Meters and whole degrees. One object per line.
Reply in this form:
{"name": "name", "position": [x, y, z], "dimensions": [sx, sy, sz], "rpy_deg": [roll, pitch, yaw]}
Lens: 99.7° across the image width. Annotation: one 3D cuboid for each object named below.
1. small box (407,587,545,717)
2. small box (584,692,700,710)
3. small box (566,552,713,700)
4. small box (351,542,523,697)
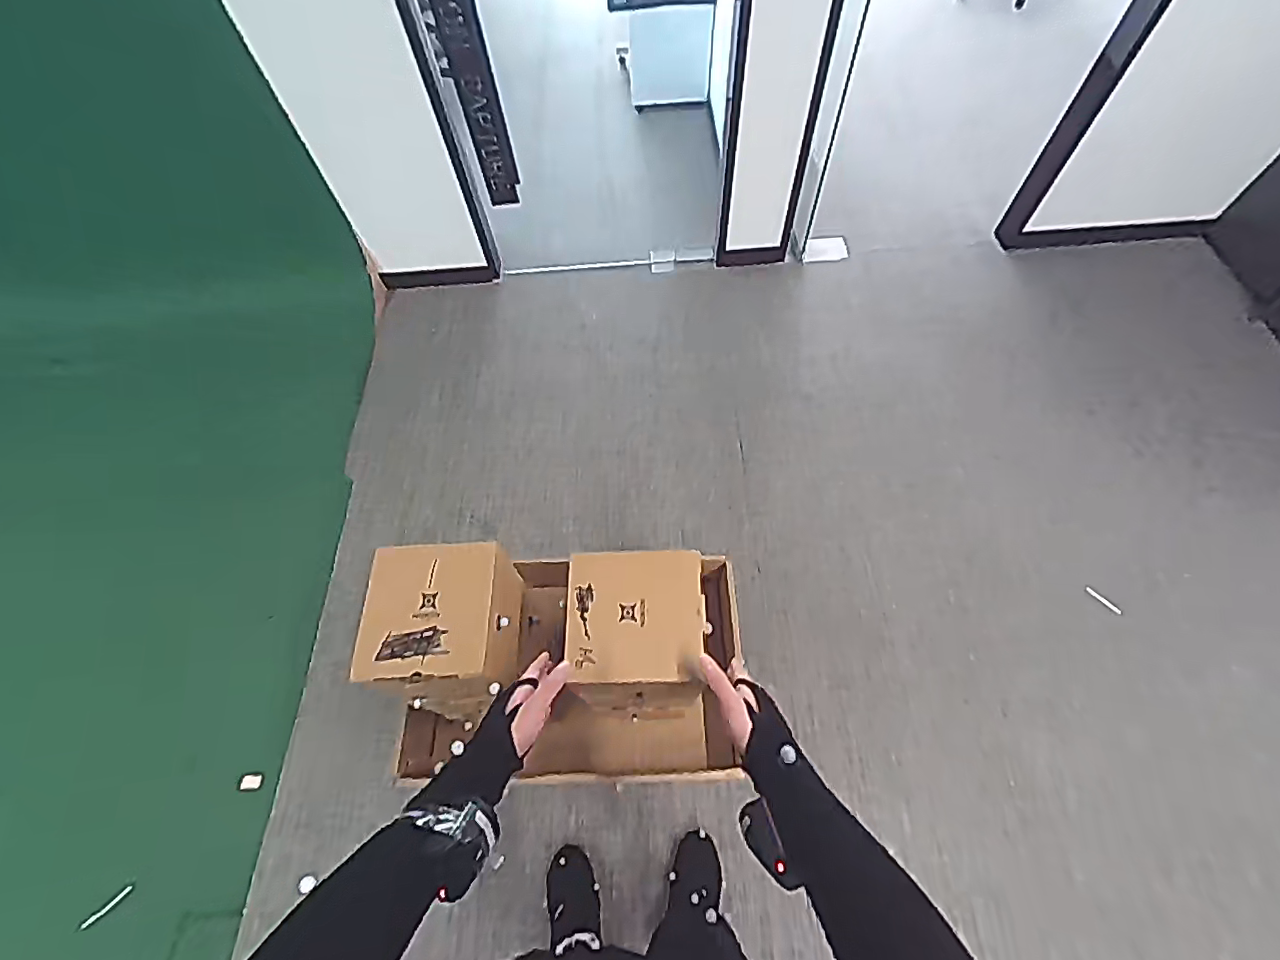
{"name": "small box", "position": [-0.255, 0.286, 0.891], "dimensions": [0.168, 0.176, 0.179], "rpy_deg": [-1, 61, 1]}
{"name": "small box", "position": [0.006, 0.282, 0.889], "dimensions": [0.179, 0.176, 0.168], "rpy_deg": [0, 62, 1]}
{"name": "small box", "position": [0.000, 0.205, 0.745], "dimensions": [0.179, 0.176, 0.168], "rpy_deg": [0, 62, 1]}
{"name": "small box", "position": [-0.263, 0.200, 0.751], "dimensions": [0.168, 0.176, 0.179], "rpy_deg": [-2, 60, 0]}
